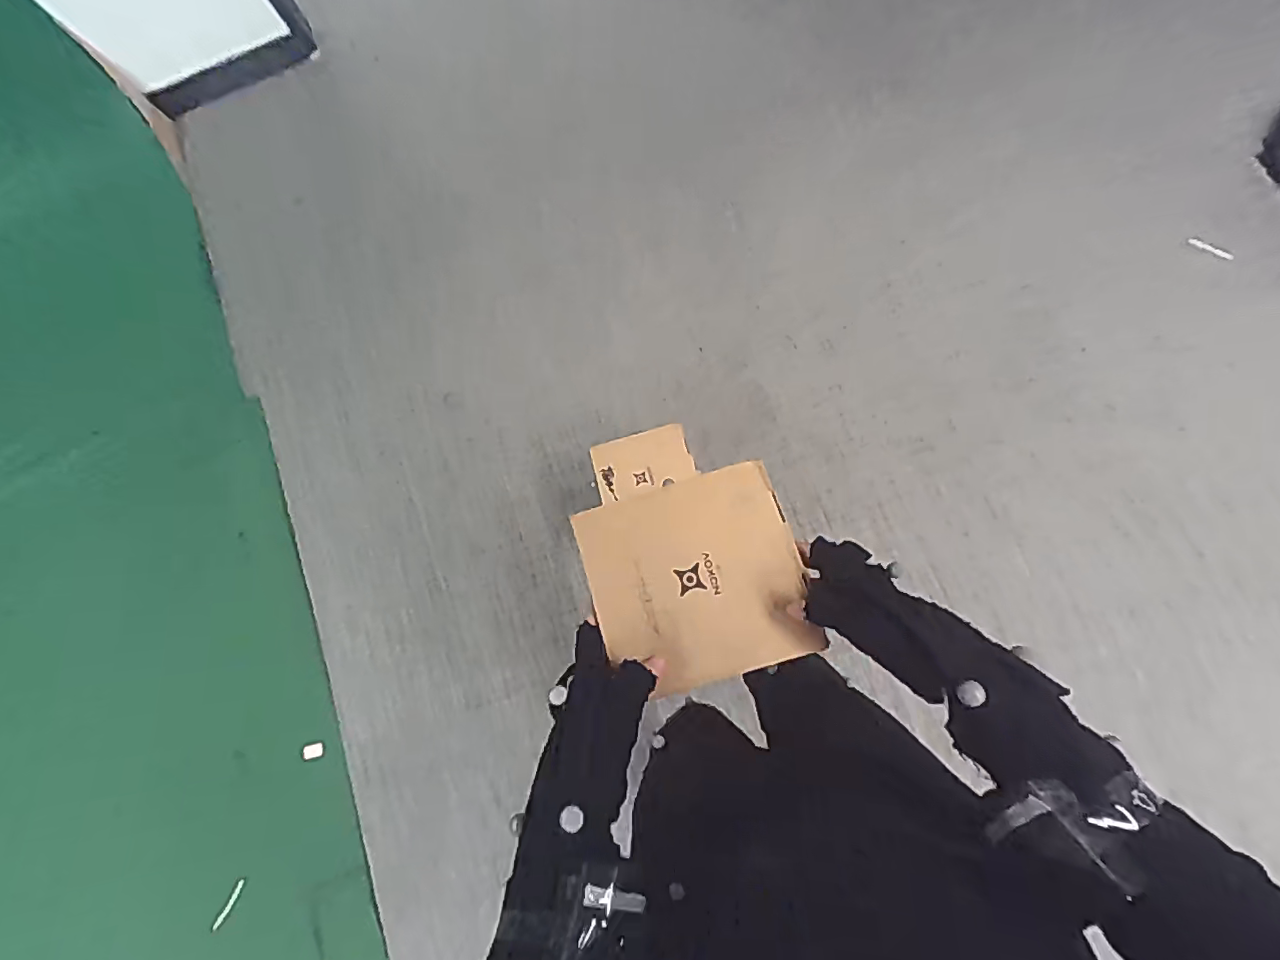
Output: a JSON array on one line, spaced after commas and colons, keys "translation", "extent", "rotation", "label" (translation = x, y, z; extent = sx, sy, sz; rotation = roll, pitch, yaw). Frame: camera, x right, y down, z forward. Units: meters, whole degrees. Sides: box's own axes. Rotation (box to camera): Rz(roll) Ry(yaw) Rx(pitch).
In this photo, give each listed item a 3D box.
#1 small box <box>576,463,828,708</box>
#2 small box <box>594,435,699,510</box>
[{"translation": [0.056, 0.103, 0.532], "extent": [0.179, 0.176, 0.168], "rotation": [-19, 74, 3], "label": "small box"}, {"translation": [0.027, 0.026, 1.050], "extent": [0.179, 0.176, 0.168], "rotation": [-18, 81, 4], "label": "small box"}]
